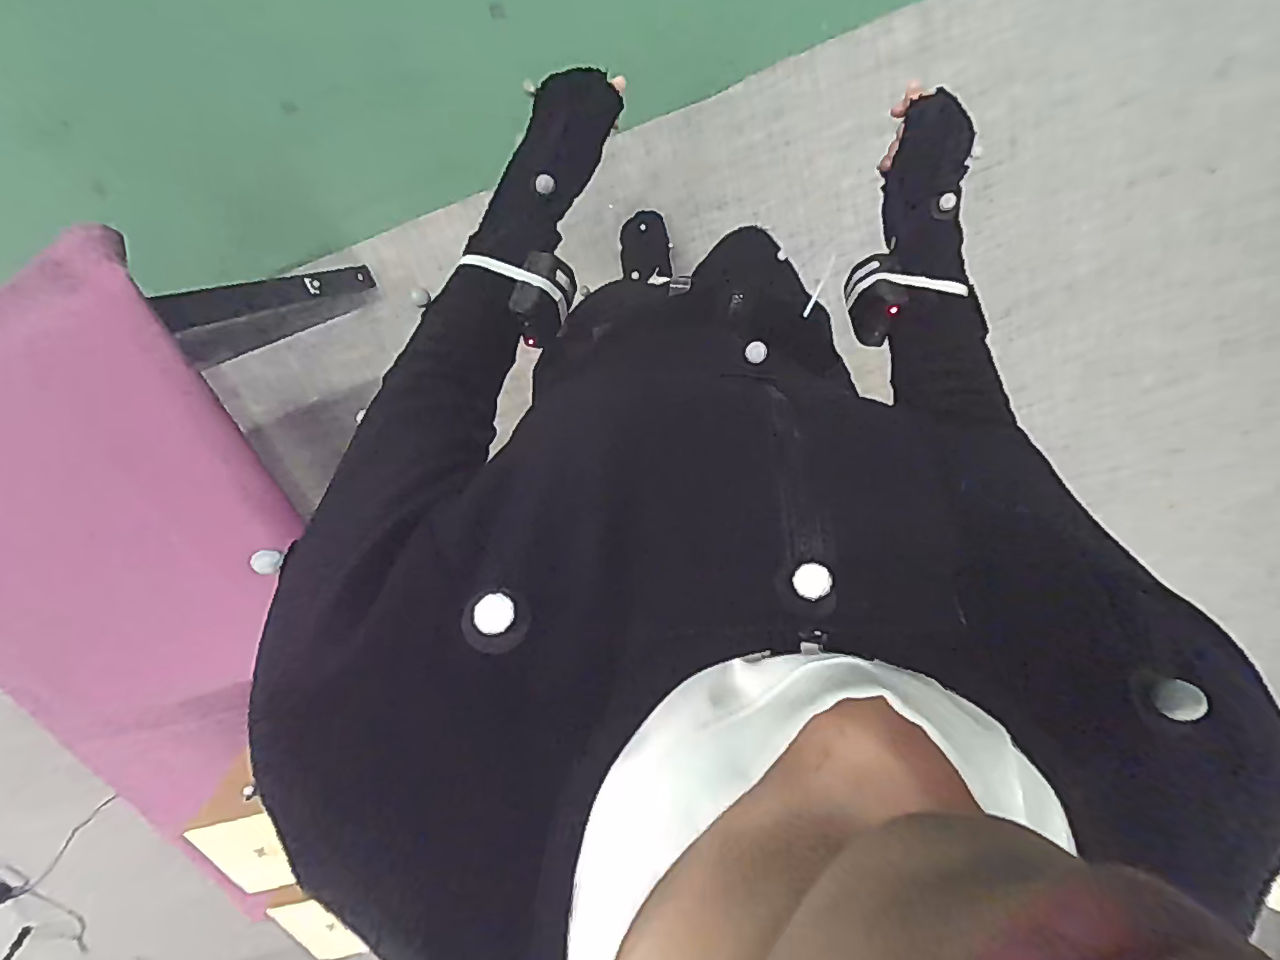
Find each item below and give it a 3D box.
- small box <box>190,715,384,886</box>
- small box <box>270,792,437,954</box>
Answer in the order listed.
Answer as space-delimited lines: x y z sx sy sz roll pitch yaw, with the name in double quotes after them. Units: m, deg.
-0.573 0.530 0.906 0.179 0.176 0.168 -17 113 7 "small box"
-0.506 0.709 0.985 0.179 0.176 0.168 -18 113 8 "small box"
